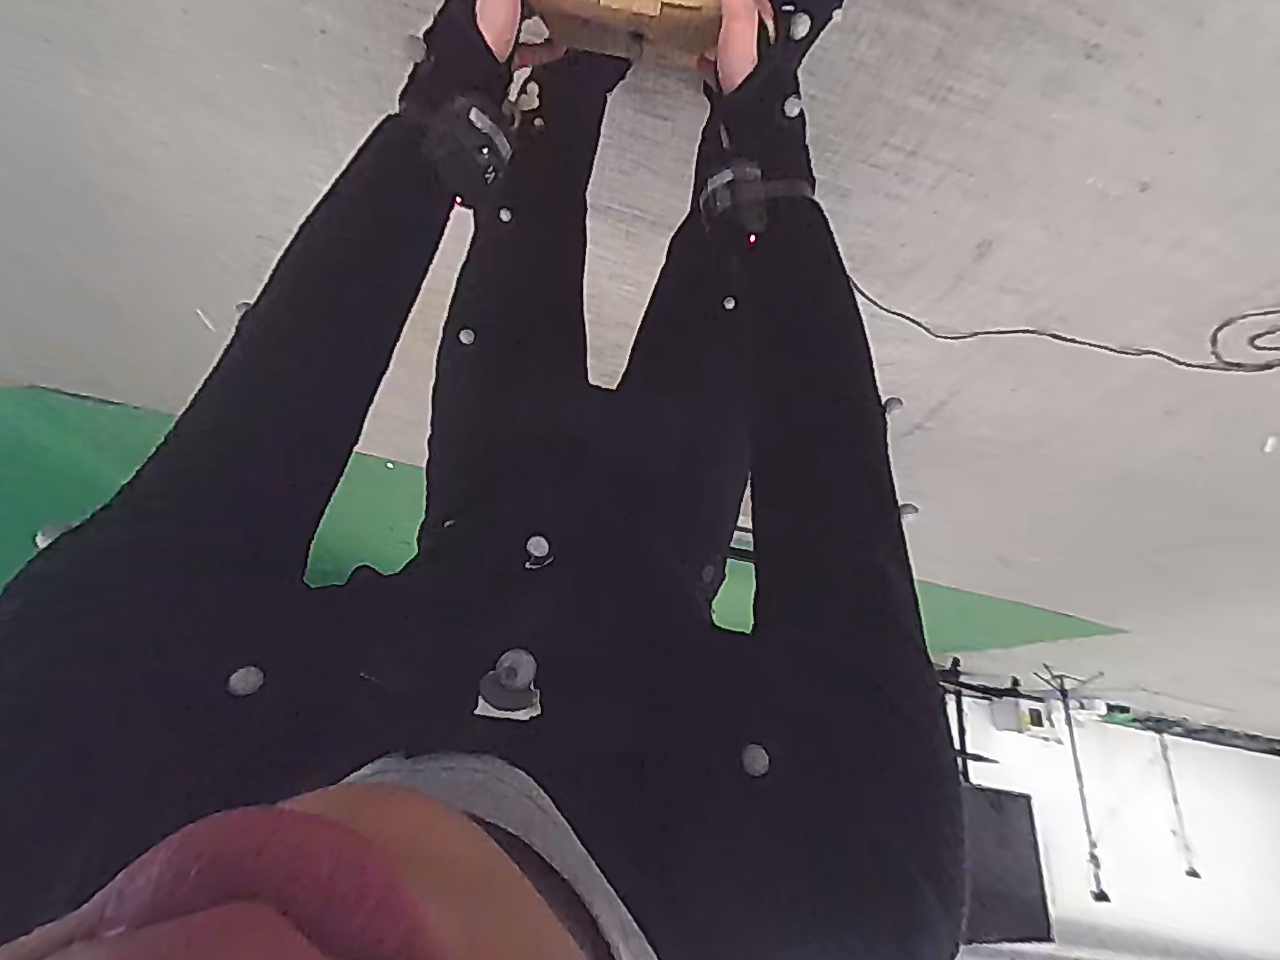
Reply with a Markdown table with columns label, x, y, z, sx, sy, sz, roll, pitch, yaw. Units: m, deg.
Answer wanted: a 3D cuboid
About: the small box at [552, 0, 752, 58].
| label | x | y | z | sx | sy | sz | roll | pitch | yaw |
| --- | --- | --- | --- | --- | --- | --- | --- | --- | --- |
| small box | 0.017 | -0.464 | 0.426 | 0.168 | 0.176 | 0.179 | 7 | 117 | -1 |
